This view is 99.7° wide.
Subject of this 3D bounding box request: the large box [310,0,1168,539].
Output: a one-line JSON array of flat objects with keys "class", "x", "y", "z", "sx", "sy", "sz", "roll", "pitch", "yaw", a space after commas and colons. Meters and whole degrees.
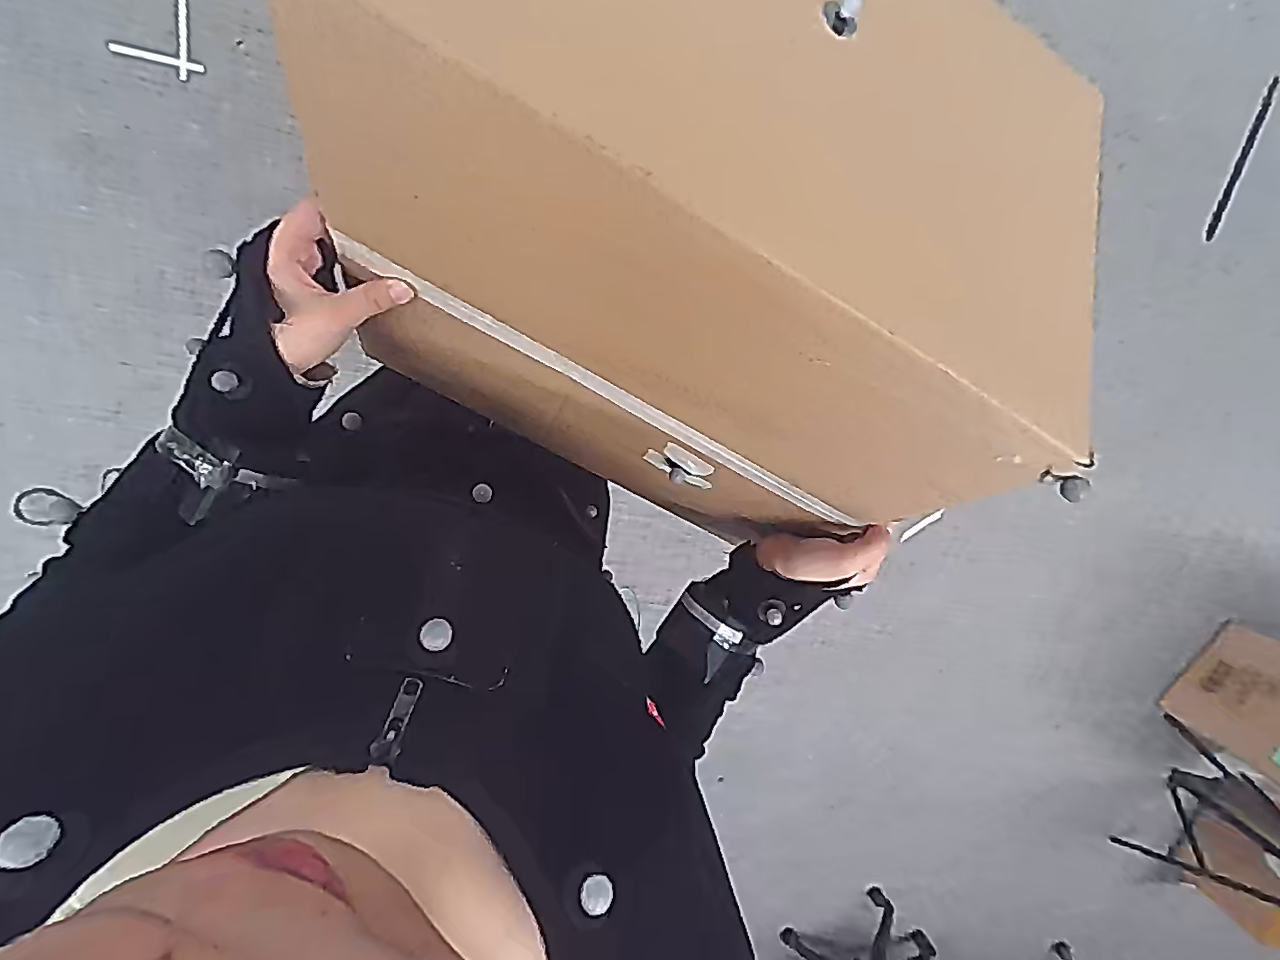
[{"class": "large box", "x": 0.062, "y": -0.199, "z": 0.395, "sx": 0.408, "sy": 0.320, "sz": 0.320, "roll": 27, "pitch": 68, "yaw": -12}]
